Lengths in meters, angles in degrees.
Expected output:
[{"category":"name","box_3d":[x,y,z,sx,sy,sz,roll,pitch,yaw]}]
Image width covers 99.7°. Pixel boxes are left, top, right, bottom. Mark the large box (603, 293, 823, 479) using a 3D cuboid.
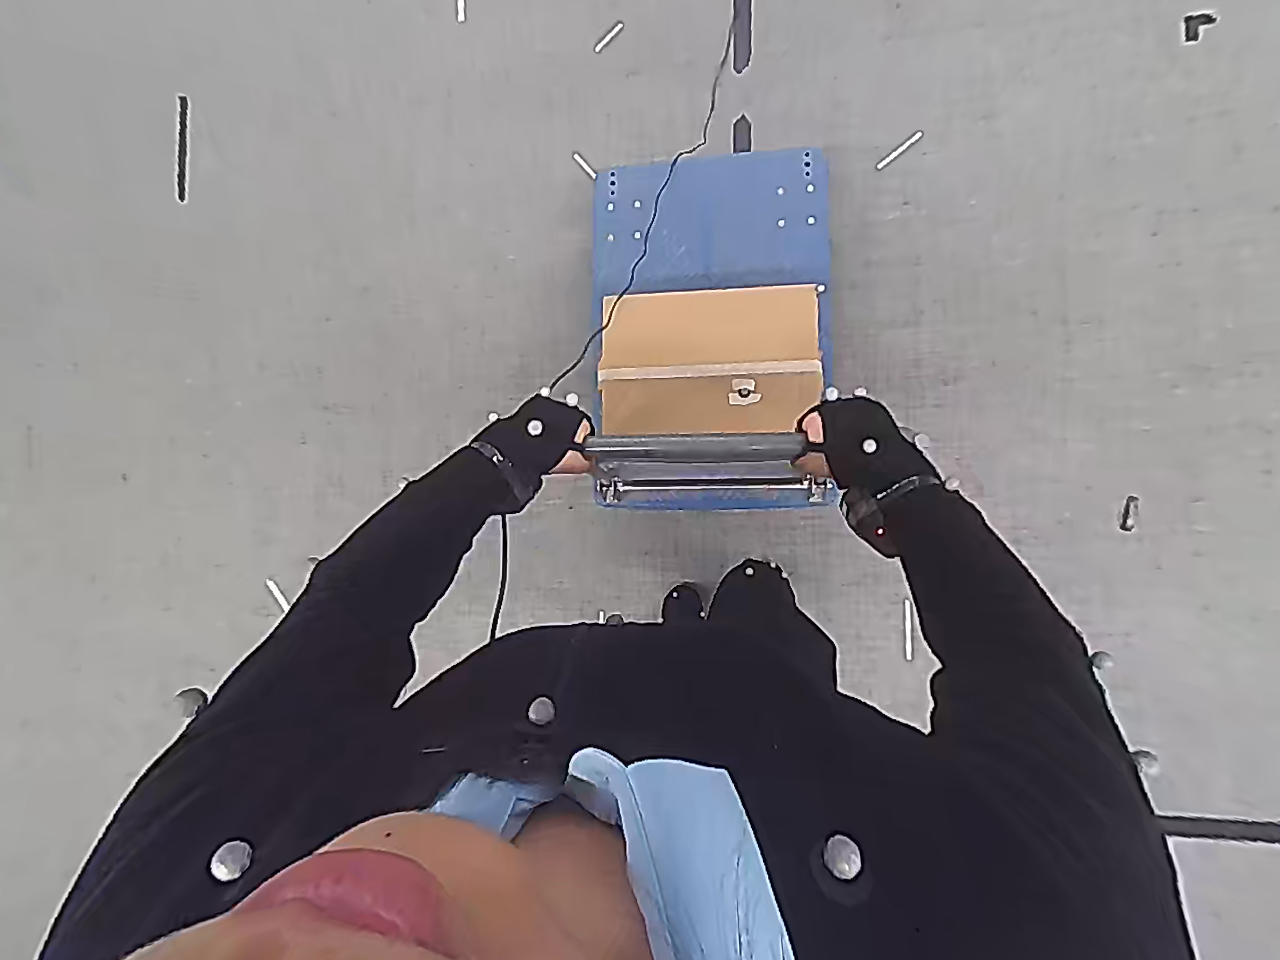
[{"category":"large box","box_3d":[0.146,-0.173,1.147,0.408,0.320,0.320,-1,86,8]}]
